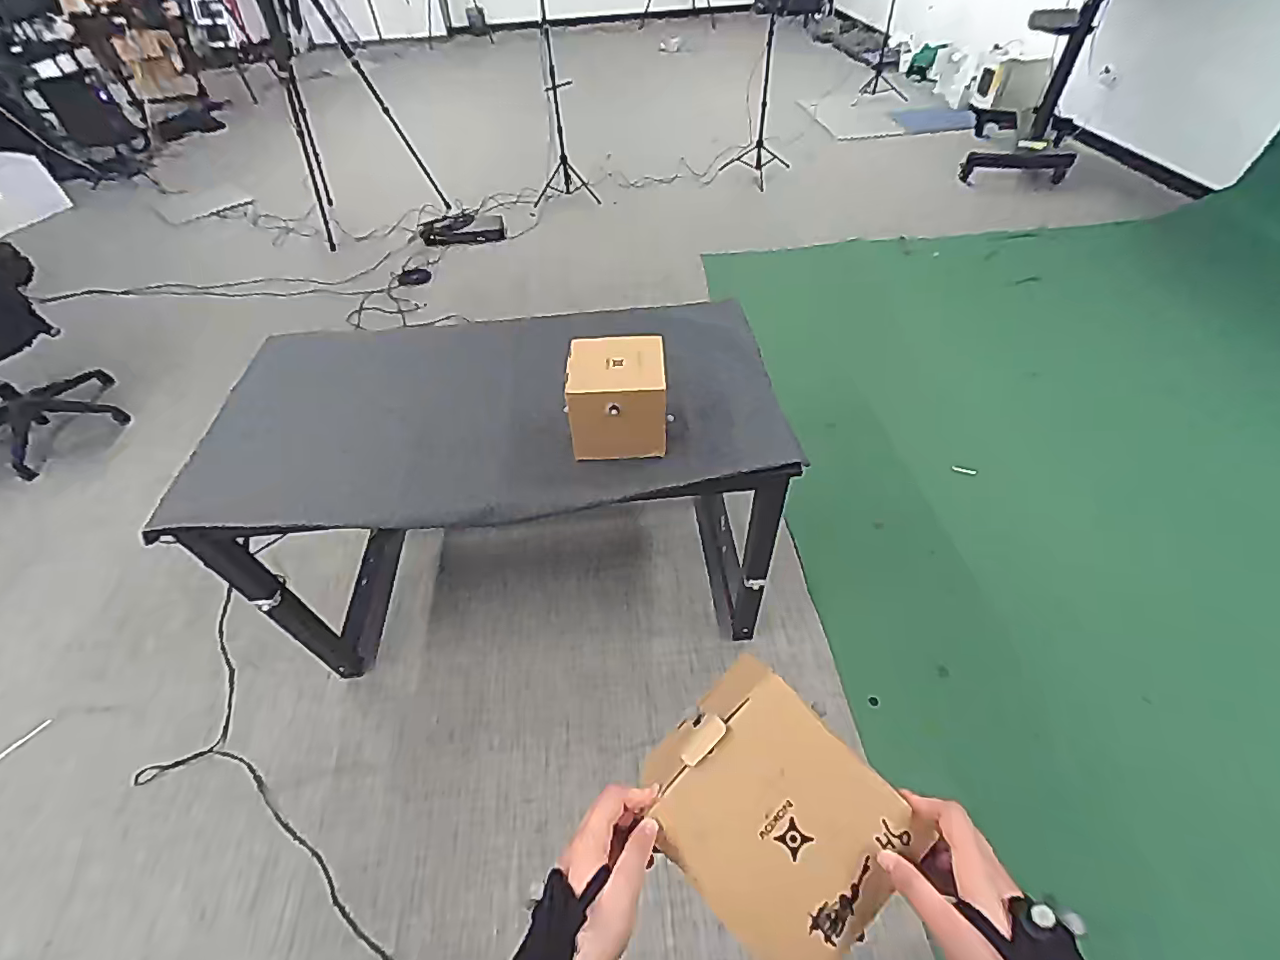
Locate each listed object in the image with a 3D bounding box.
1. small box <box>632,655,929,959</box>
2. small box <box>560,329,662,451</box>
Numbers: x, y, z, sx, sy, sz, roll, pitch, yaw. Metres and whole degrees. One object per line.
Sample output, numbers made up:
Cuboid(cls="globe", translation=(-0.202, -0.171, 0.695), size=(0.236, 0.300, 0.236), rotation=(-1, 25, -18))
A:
Cuboid(cls="small box", translation=(0.111, 0.282, 0.503), size=(0.168, 0.176, 0.179), rotation=(-44, 80, -7))
Cuboid(cls="small box", translation=(-0.049, -0.168, 1.027), size=(0.179, 0.176, 0.168), rotation=(-2, 49, 0))
